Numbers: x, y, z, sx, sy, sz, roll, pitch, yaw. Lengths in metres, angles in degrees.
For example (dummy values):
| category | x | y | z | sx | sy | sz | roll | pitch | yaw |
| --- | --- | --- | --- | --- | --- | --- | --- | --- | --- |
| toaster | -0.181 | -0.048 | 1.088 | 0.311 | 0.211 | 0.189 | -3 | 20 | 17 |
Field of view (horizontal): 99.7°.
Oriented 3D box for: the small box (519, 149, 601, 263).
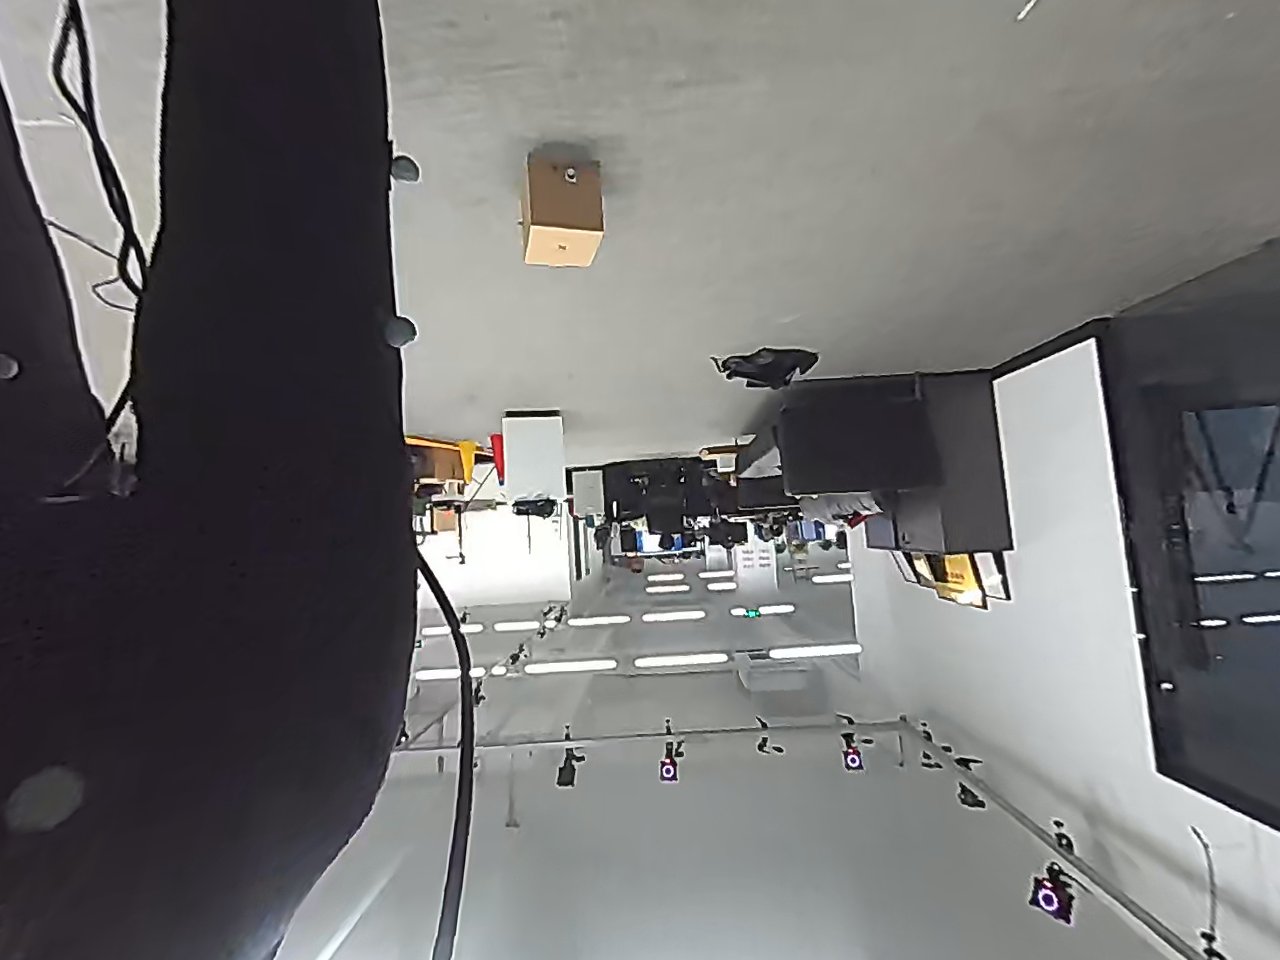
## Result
| category | x | y | z | sx | sy | sz | roll | pitch | yaw |
| --- | --- | --- | --- | --- | --- | --- | --- | --- | --- |
| small box | -0.193 | -0.635 | 1.271 | 0.168 | 0.176 | 0.179 | -4 | 175 | -16 |
